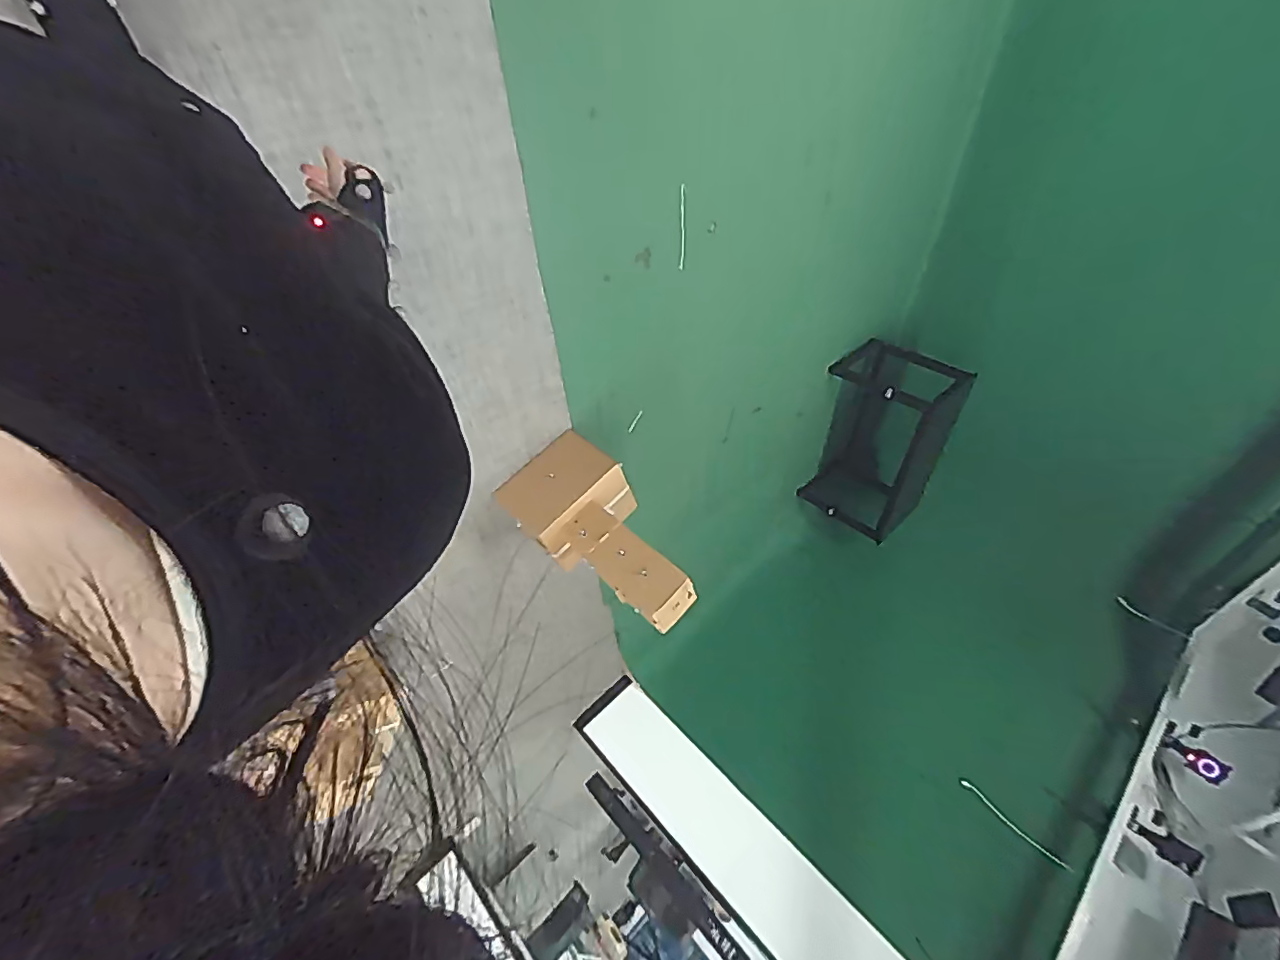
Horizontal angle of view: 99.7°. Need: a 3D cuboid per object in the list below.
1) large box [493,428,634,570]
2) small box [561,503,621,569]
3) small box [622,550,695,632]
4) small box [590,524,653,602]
[{"bbox_3d":[-0.299,0.071,2.159,0.408,0.320,0.320,-45,147,-17],"label":"large box"},{"bbox_3d":[-0.165,0.209,2.003,0.168,0.176,0.179,-43,145,-16],"label":"small box"},{"bbox_3d":[0.059,0.372,1.826,0.179,0.176,0.168,-42,145,-15],"label":"small box"},{"bbox_3d":[-0.055,0.292,1.914,0.179,0.176,0.168,-44,145,-16],"label":"small box"}]
